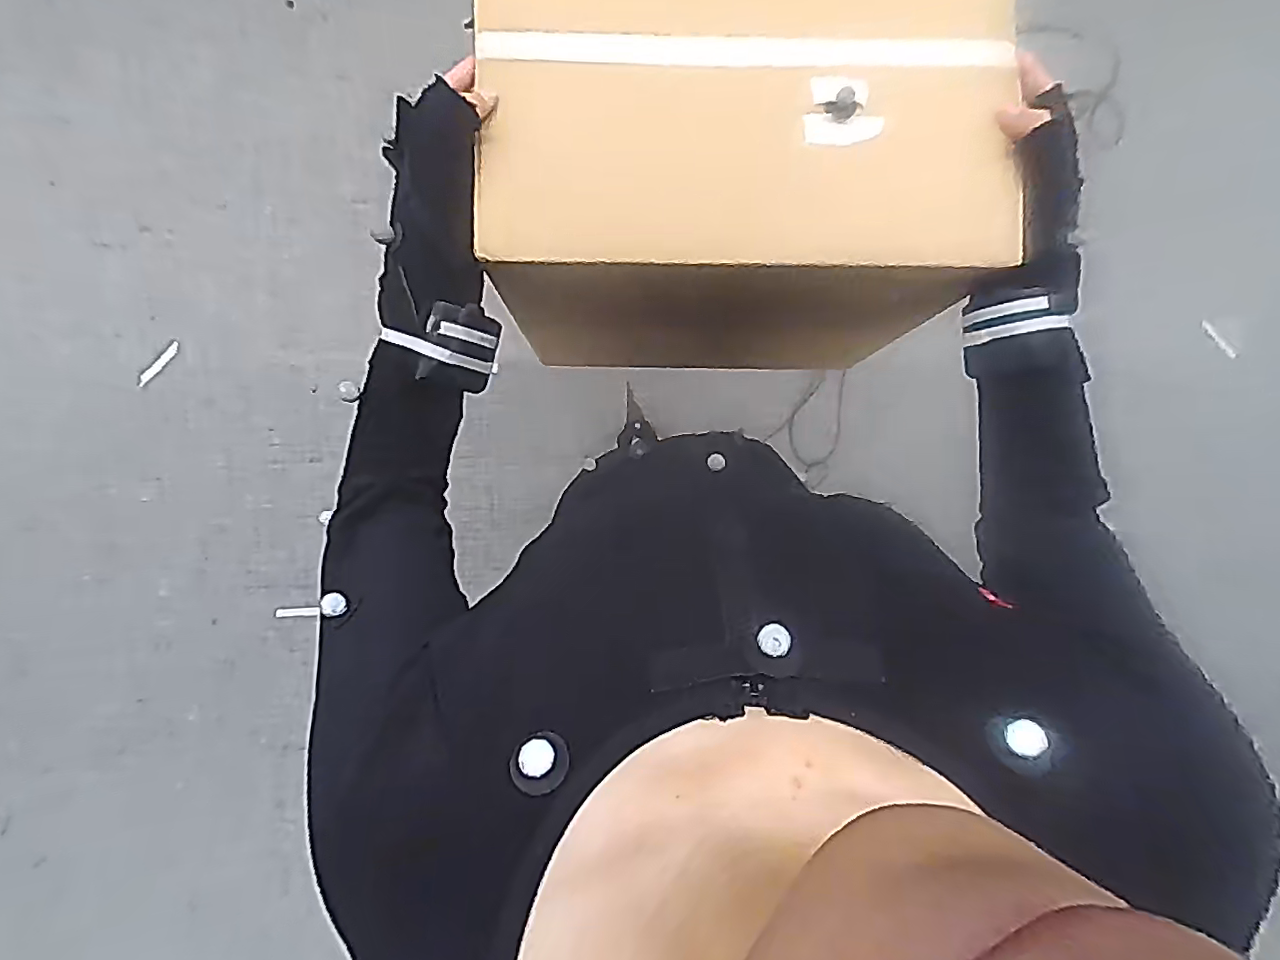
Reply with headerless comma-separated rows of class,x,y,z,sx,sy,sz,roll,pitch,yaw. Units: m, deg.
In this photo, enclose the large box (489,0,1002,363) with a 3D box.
large box,0.076,-0.316,0.570,0.408,0.320,0.320,0,87,-2
